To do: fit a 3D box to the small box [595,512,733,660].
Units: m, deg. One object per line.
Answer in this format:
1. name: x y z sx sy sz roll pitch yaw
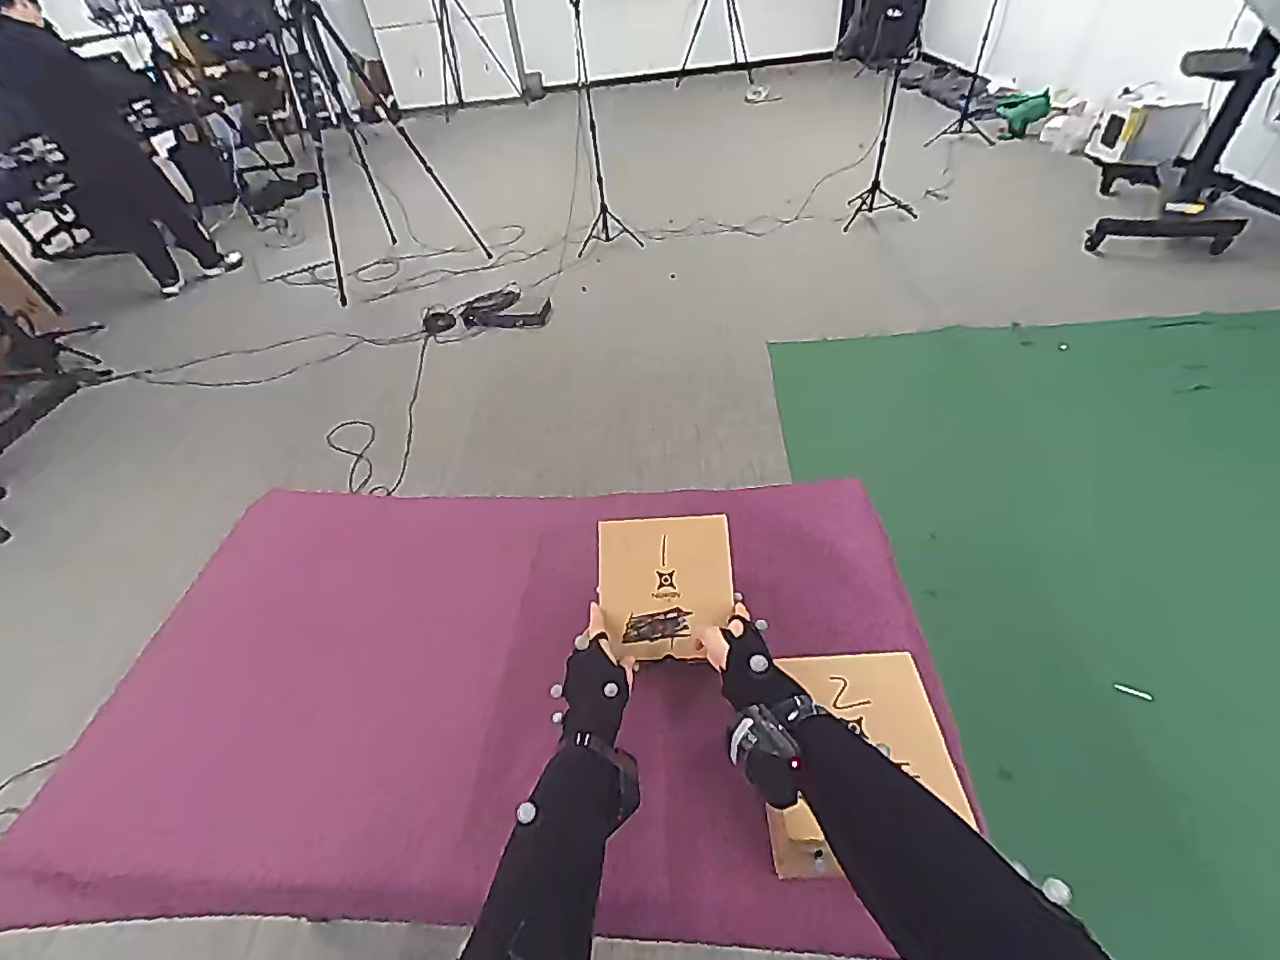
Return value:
1. small box: 0.035 0.149 0.730 0.168 0.176 0.179 -3 72 5
